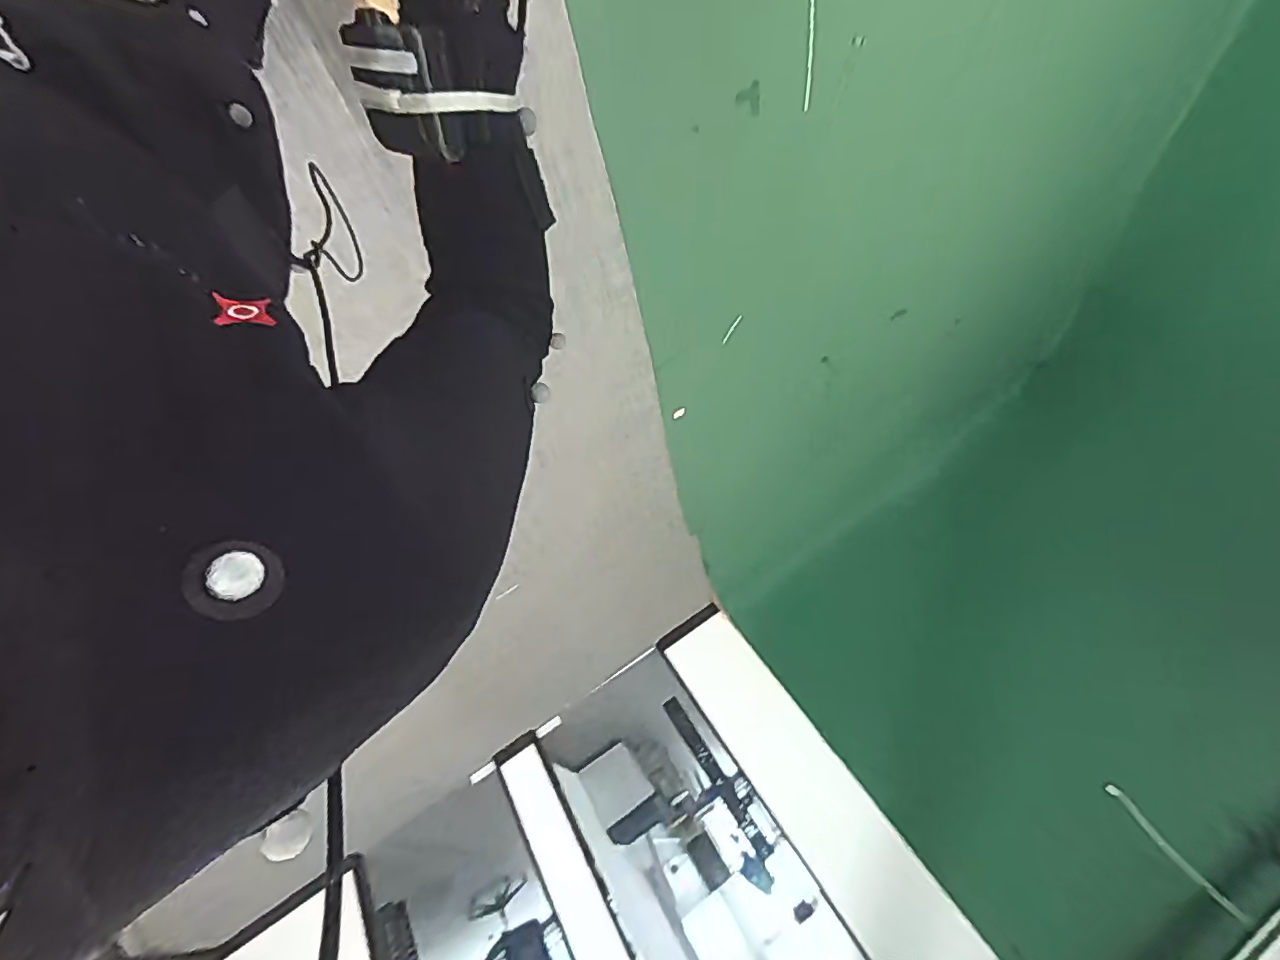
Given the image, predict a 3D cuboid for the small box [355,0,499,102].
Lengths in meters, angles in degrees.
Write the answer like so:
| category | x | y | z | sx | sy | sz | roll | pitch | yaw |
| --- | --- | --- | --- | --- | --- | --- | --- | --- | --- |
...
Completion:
| category | x | y | z | sx | sy | sz | roll | pitch | yaw |
| --- | --- | --- | --- | --- | --- | --- | --- | --- | --- |
| small box | -0.378 | -0.795 | 0.938 | 0.179 | 0.176 | 0.168 | -30 | 145 | -10 |
